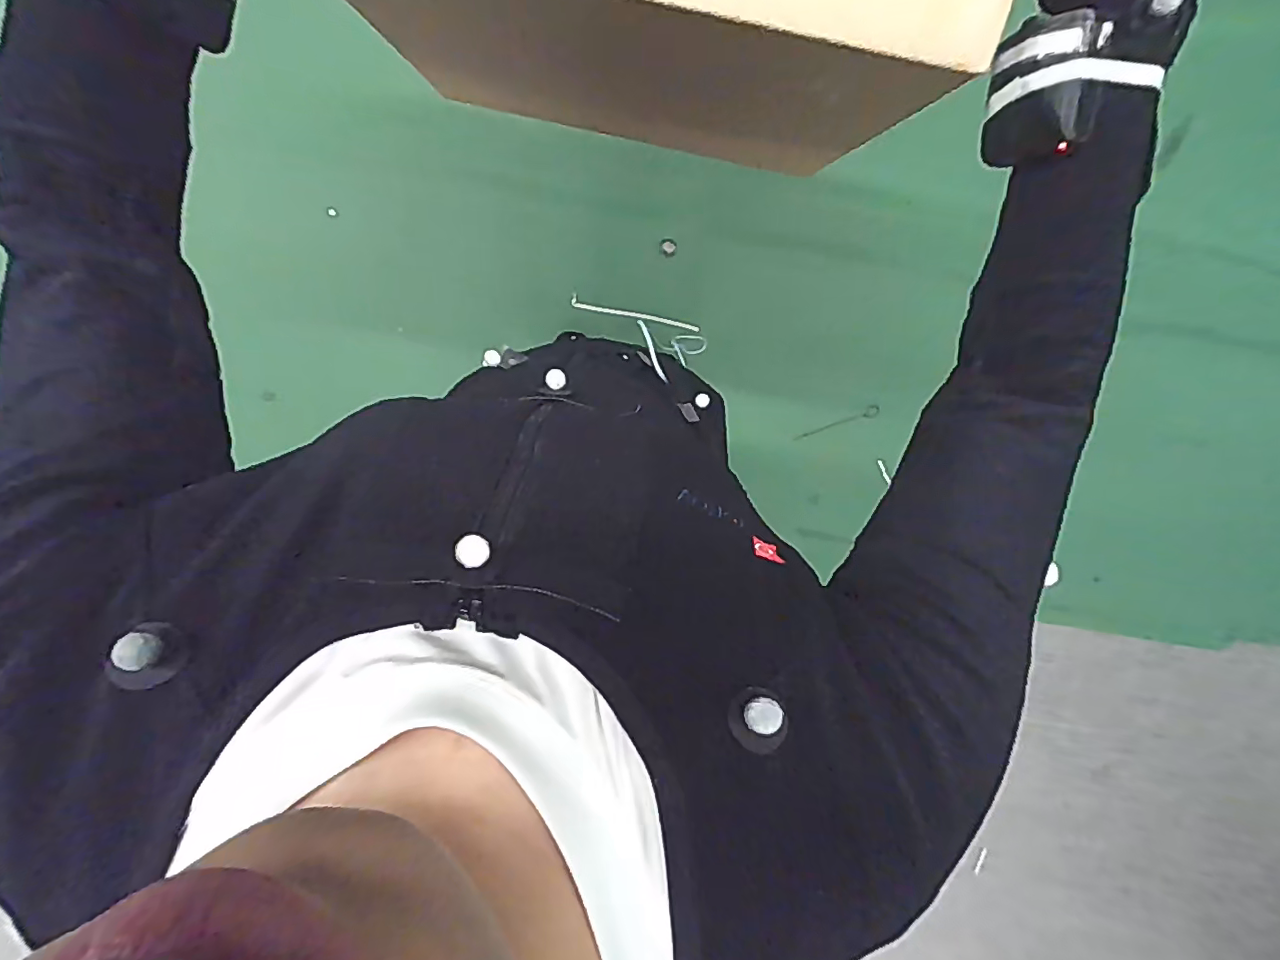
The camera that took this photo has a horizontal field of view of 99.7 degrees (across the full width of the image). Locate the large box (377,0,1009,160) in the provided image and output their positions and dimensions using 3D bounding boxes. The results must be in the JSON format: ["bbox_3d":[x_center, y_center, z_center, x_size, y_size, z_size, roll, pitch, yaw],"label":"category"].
[{"bbox_3d":[0.026,-0.465,0.385,0.408,0.320,0.320,9,110,-6],"label":"large box"}]
